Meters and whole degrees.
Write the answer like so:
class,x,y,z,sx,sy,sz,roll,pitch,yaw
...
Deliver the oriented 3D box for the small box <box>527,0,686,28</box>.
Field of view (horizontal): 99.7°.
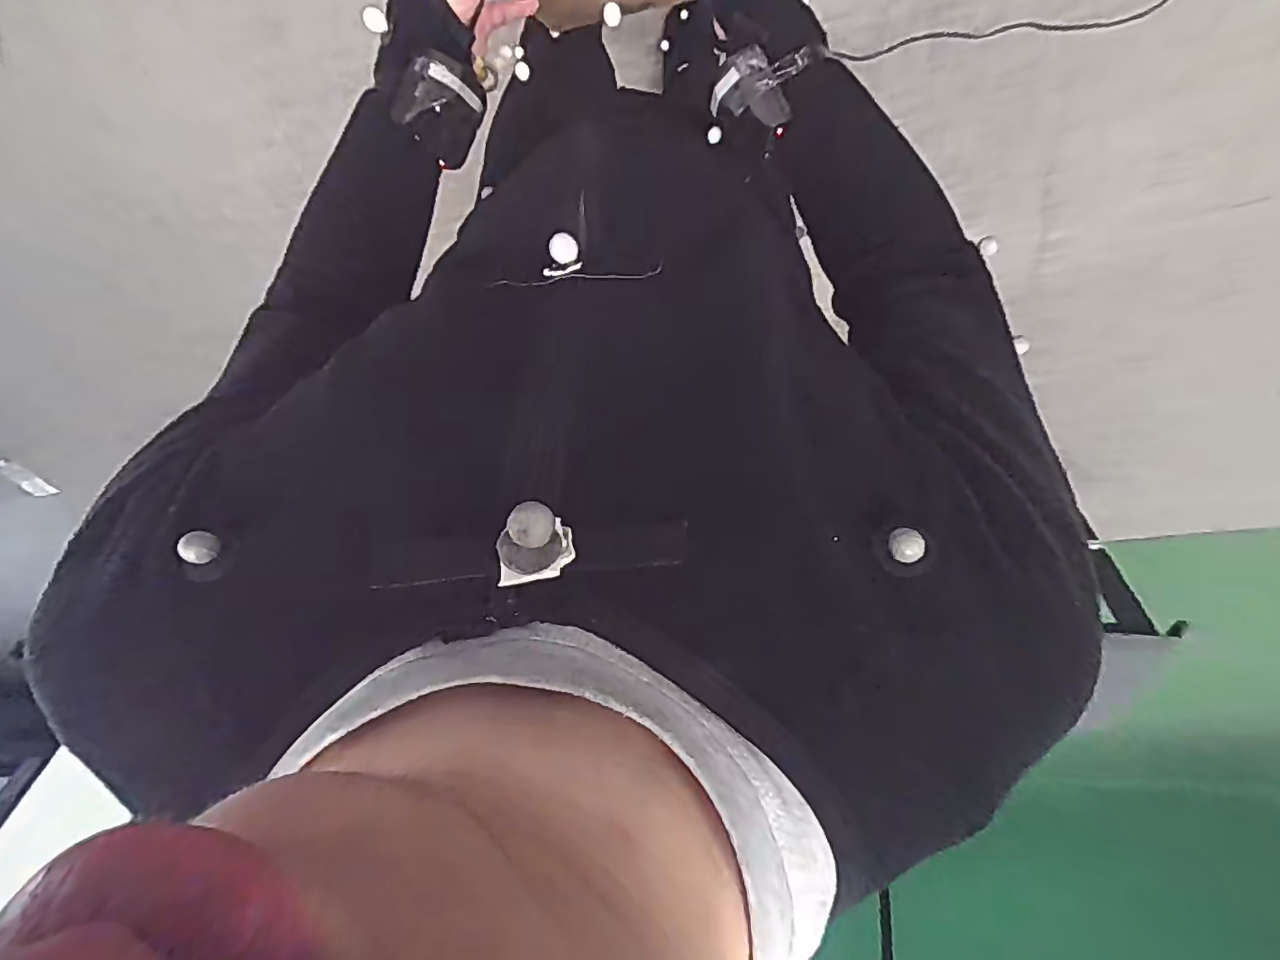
class,x,y,z,sx,sy,sz,roll,pitch,yaw
small box,-0.045,-0.519,0.448,0.168,0.176,0.179,0,117,13
